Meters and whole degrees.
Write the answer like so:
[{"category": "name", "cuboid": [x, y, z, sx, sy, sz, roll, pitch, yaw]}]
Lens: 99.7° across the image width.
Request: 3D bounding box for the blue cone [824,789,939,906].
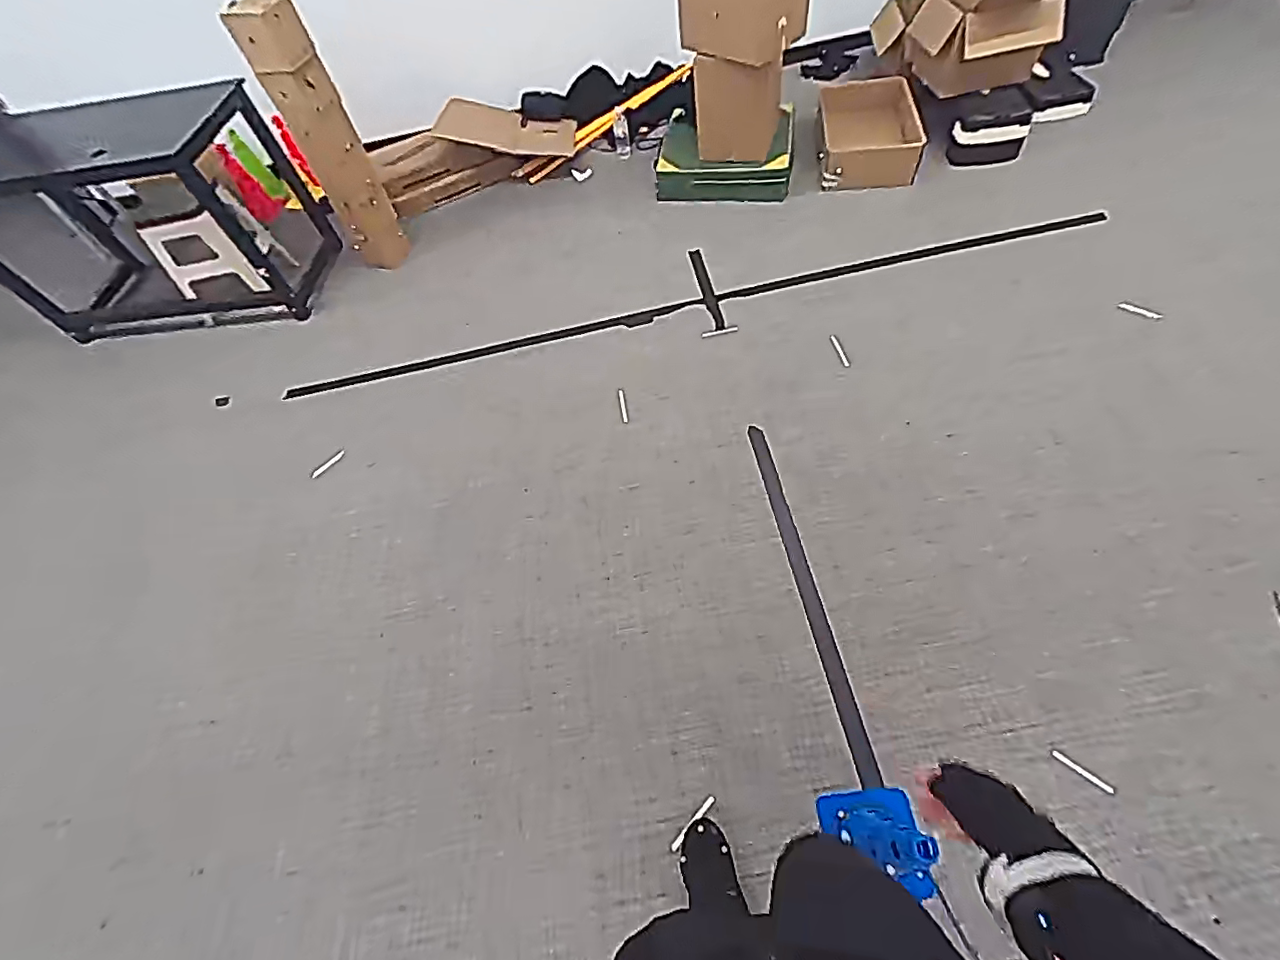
[{"category": "blue cone", "cuboid": [0.478, 0.678, 0.994, 0.193, 0.380, 0.192, -9, 57, 3]}]
